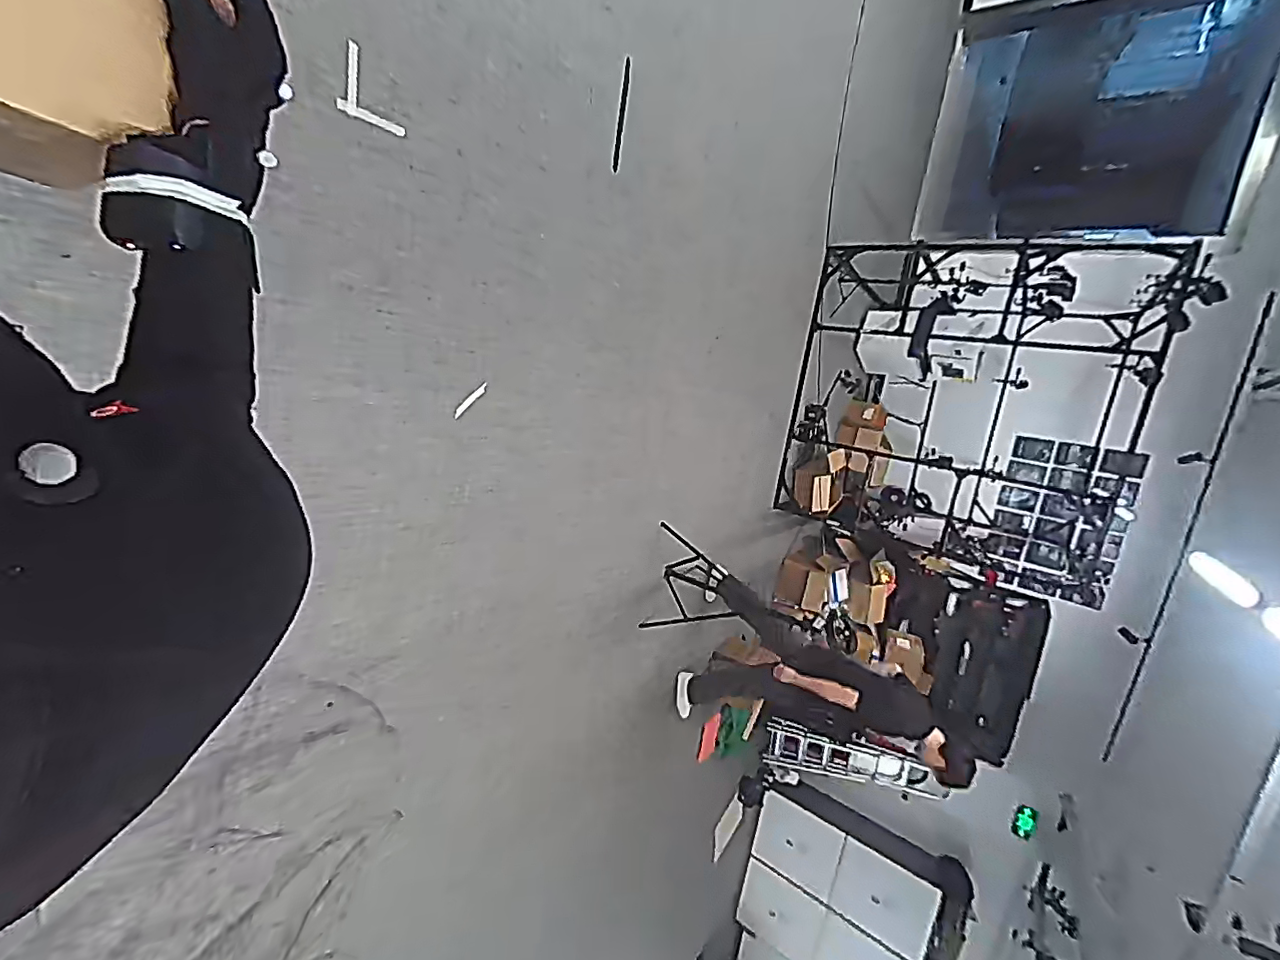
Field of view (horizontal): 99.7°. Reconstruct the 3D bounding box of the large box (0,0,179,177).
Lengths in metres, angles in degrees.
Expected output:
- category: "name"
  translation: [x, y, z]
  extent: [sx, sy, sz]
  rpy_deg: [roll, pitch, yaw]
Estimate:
- category: "large box"
  translation: [-0.563, -0.427, 0.306]
  extent: [0.408, 0.320, 0.320]
  rpy_deg: [1, 104, -58]
